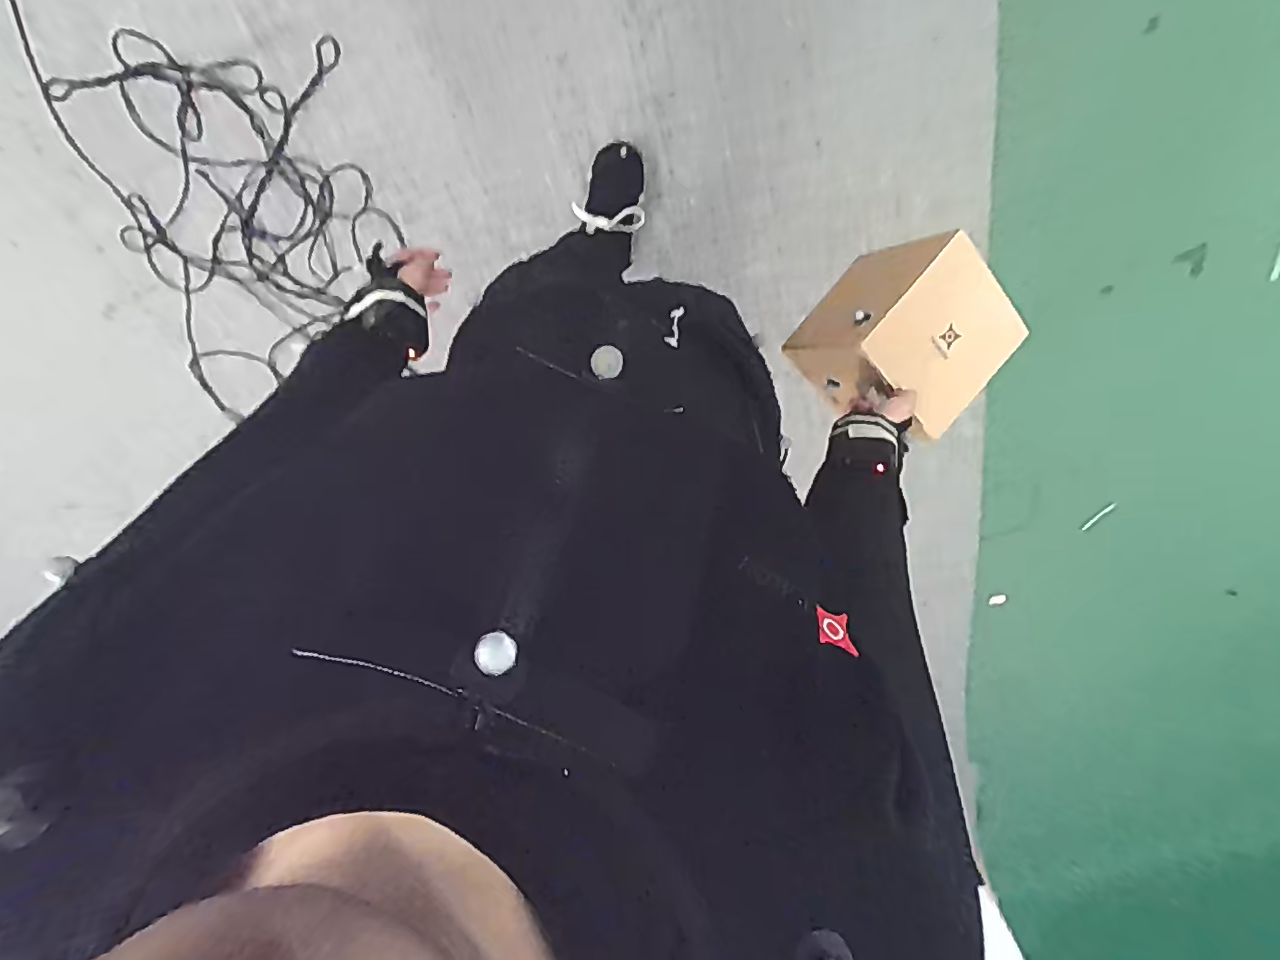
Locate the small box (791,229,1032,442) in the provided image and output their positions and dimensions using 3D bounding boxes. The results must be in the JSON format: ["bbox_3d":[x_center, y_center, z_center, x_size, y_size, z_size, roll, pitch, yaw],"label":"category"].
[{"bbox_3d":[0.328,-0.176,0.681,0.168,0.176,0.179,40,90,-21],"label":"small box"}]
